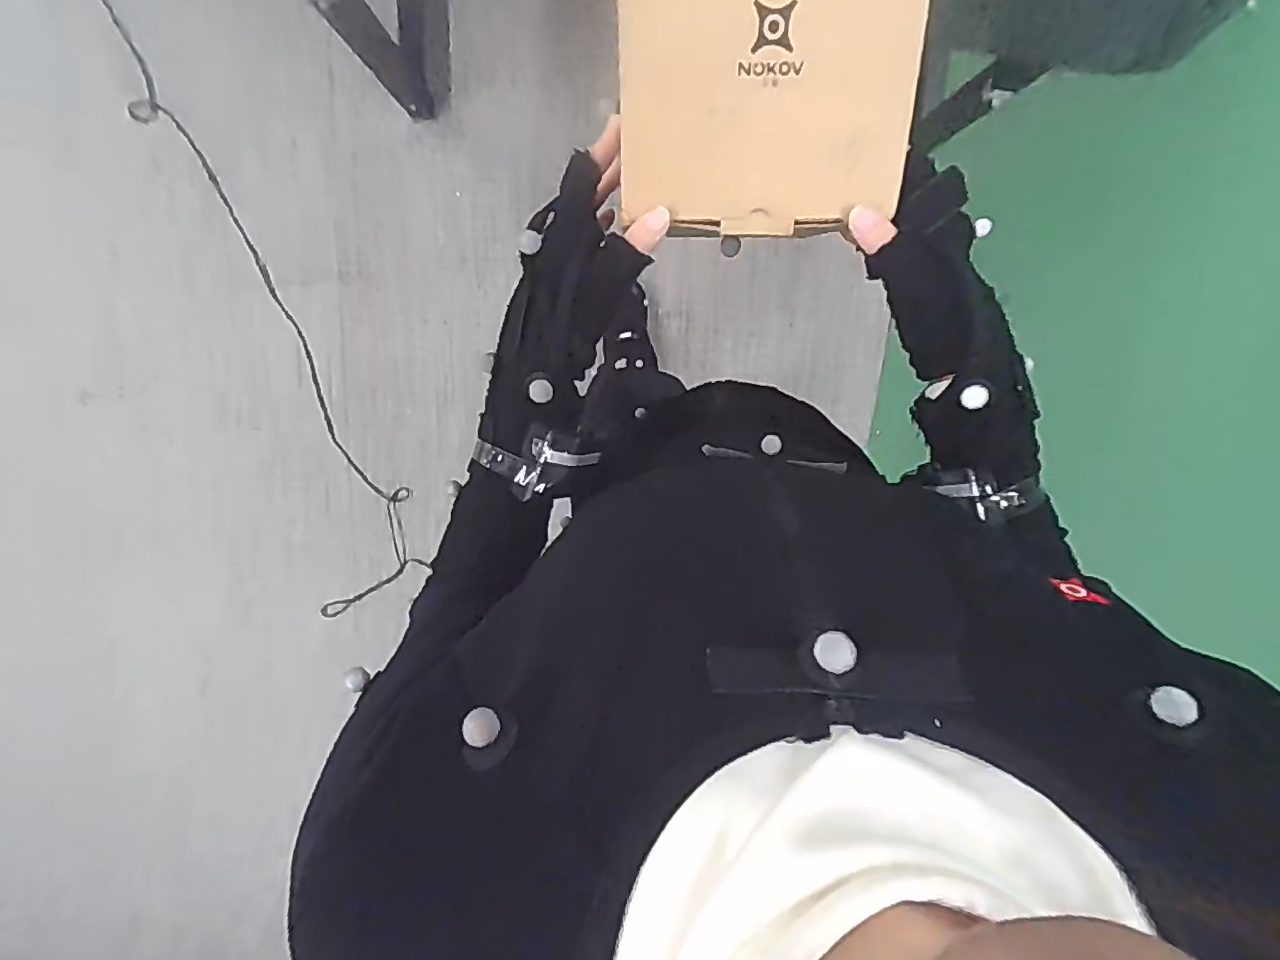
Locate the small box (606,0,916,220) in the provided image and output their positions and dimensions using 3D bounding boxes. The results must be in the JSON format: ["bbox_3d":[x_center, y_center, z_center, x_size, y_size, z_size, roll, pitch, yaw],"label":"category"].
[{"bbox_3d":[0.065,-0.273,0.363,0.168,0.176,0.179,-1,114,1],"label":"small box"}]
